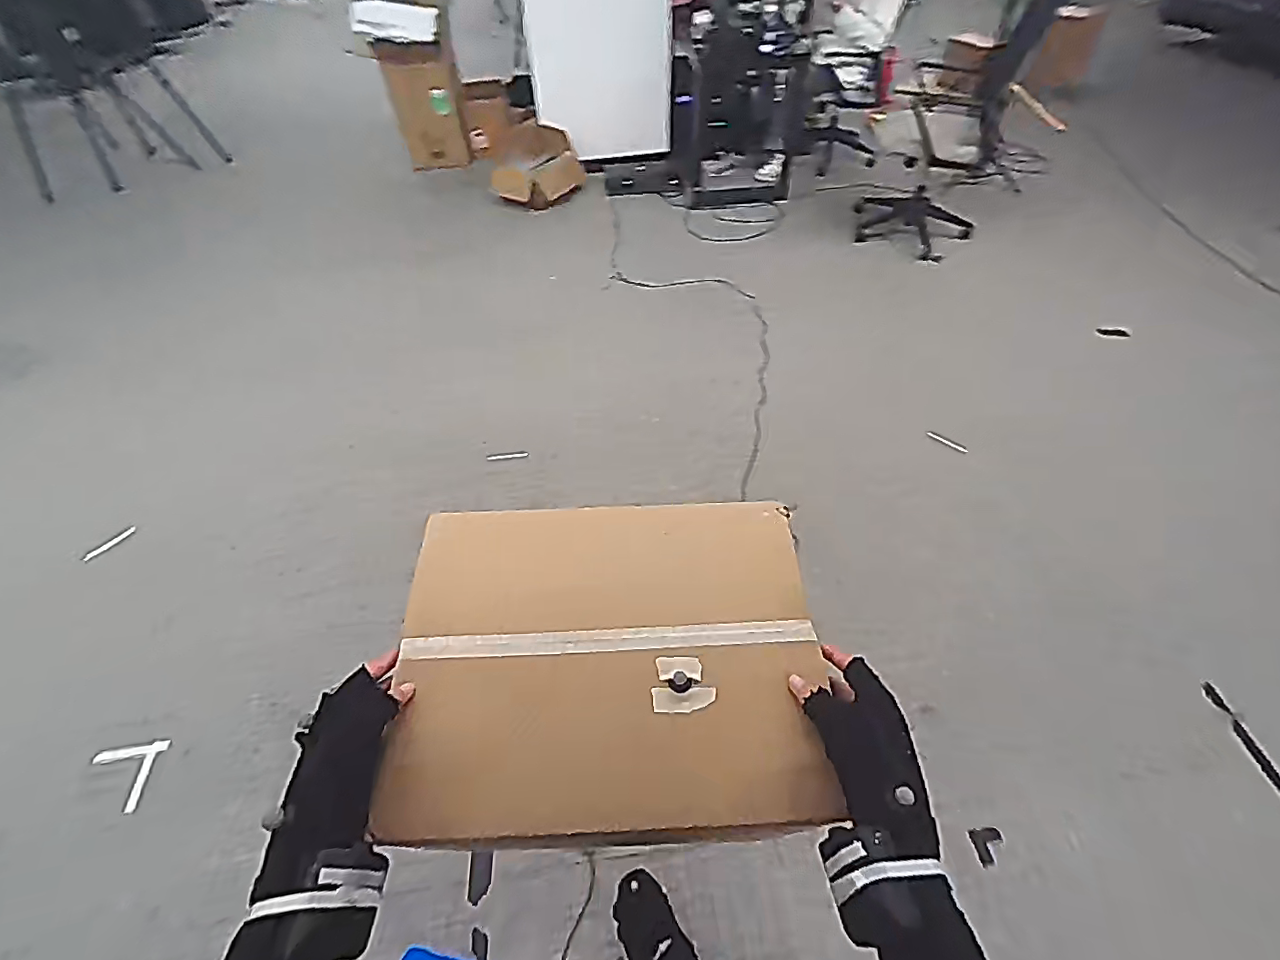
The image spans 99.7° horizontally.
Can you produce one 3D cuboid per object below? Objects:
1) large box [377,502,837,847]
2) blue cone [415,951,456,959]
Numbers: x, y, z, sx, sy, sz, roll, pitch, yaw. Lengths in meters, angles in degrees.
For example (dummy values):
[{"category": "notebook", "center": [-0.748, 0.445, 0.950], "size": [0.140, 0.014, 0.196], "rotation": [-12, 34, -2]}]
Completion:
[{"category": "large box", "center": [-0.035, 0.247, 0.666], "size": [0.408, 0.320, 0.320], "rotation": [-2, 54, -1]}, {"category": "blue cone", "center": [-0.409, 0.952, 0.927], "size": [0.193, 0.380, 0.192], "rotation": [10, 52, 12]}]
